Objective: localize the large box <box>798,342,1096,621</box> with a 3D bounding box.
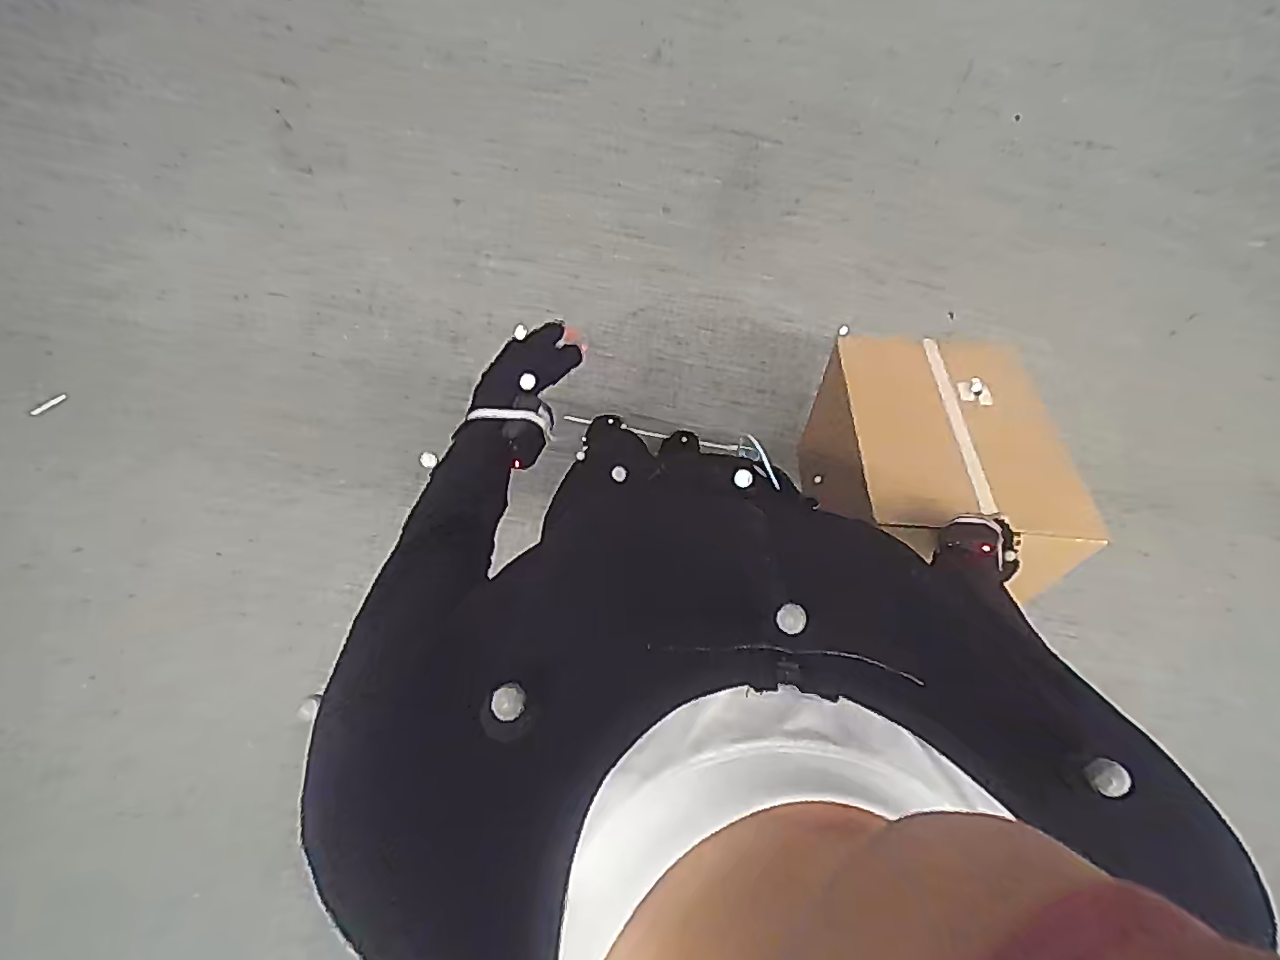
[{"bbox_3d":[0.489,0.005,0.980,0.320,0.320,0.408,5,53,2],"label":"large box"}]
